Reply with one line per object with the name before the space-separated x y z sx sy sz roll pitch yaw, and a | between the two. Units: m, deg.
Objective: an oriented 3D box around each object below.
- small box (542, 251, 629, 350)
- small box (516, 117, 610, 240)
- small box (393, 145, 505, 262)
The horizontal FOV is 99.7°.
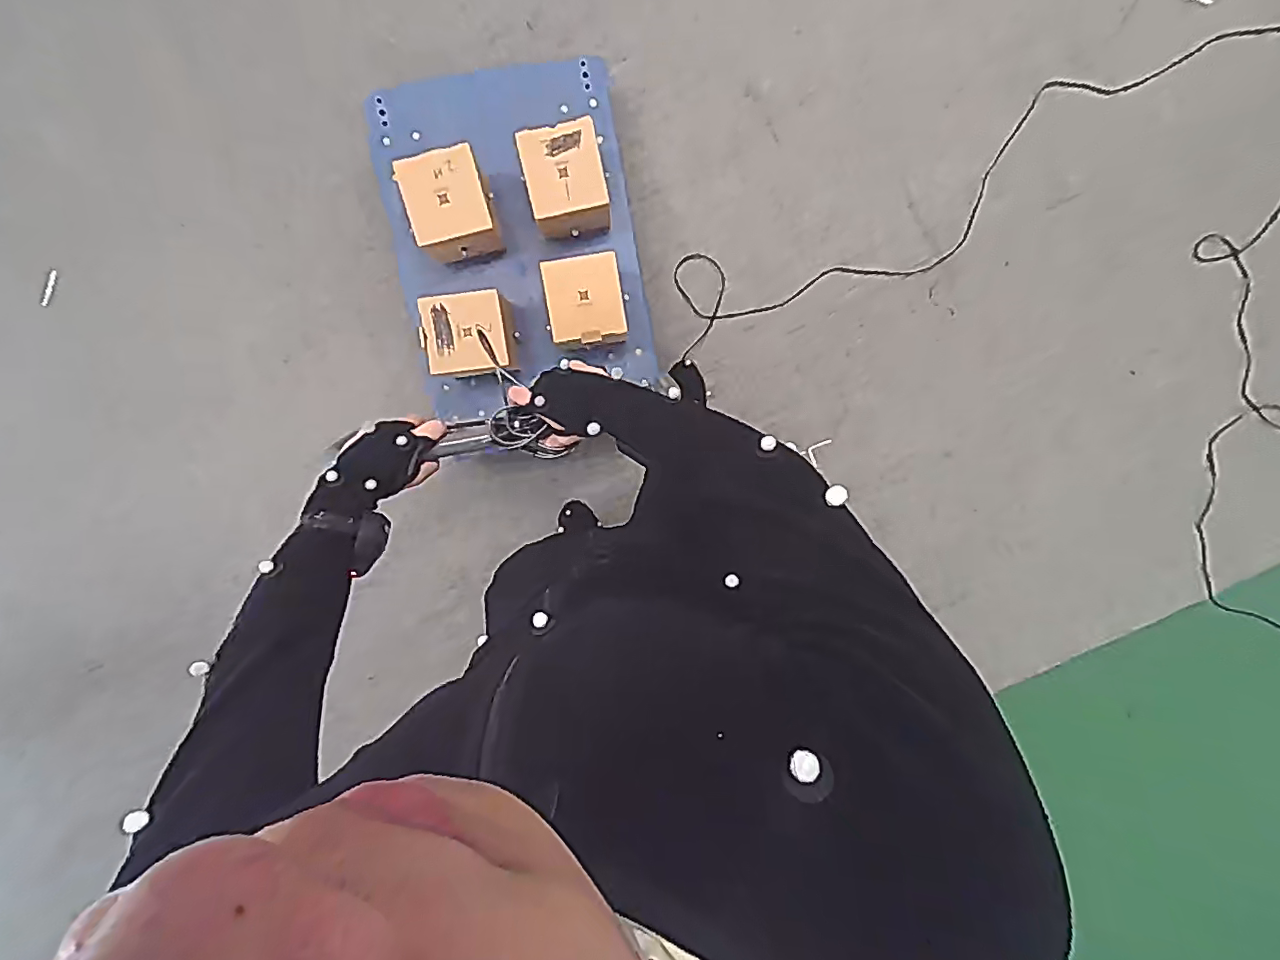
small box | -0.123 -0.408 1.254 0.168 0.176 0.179 -10 100 -1
small box | -0.164 -0.663 1.209 0.168 0.176 0.179 -13 100 0
small box | -0.415 -0.604 1.209 0.168 0.176 0.179 -15 99 -1
